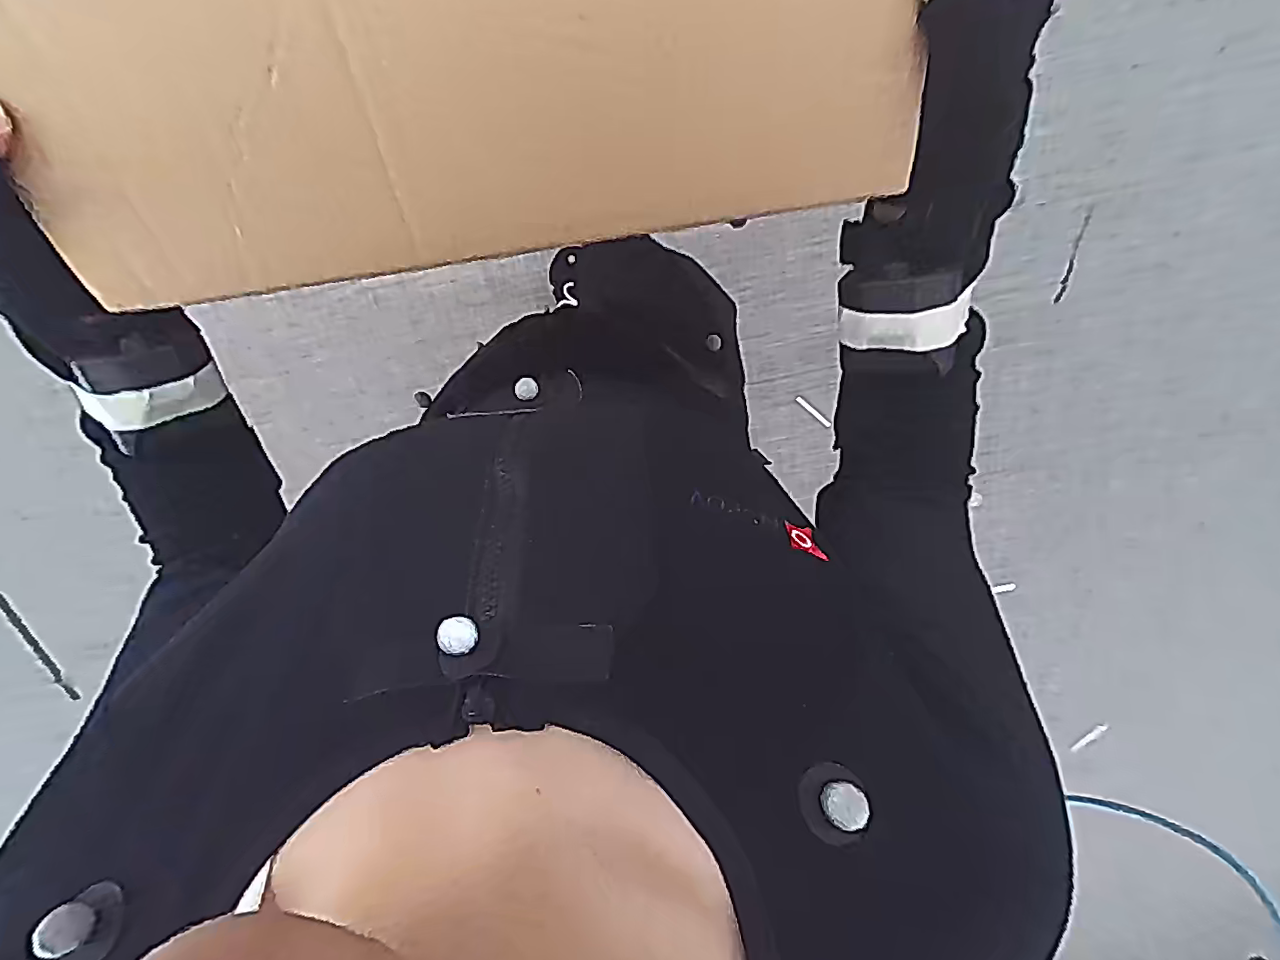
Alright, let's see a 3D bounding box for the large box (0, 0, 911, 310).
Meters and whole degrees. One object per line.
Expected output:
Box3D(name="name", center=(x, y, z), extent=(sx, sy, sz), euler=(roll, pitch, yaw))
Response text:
Box3D(name="large box", center=(-0.100, -0.328, 0.303), extent=(0.408, 0.320, 0.320), euler=(-8, 126, 3))
